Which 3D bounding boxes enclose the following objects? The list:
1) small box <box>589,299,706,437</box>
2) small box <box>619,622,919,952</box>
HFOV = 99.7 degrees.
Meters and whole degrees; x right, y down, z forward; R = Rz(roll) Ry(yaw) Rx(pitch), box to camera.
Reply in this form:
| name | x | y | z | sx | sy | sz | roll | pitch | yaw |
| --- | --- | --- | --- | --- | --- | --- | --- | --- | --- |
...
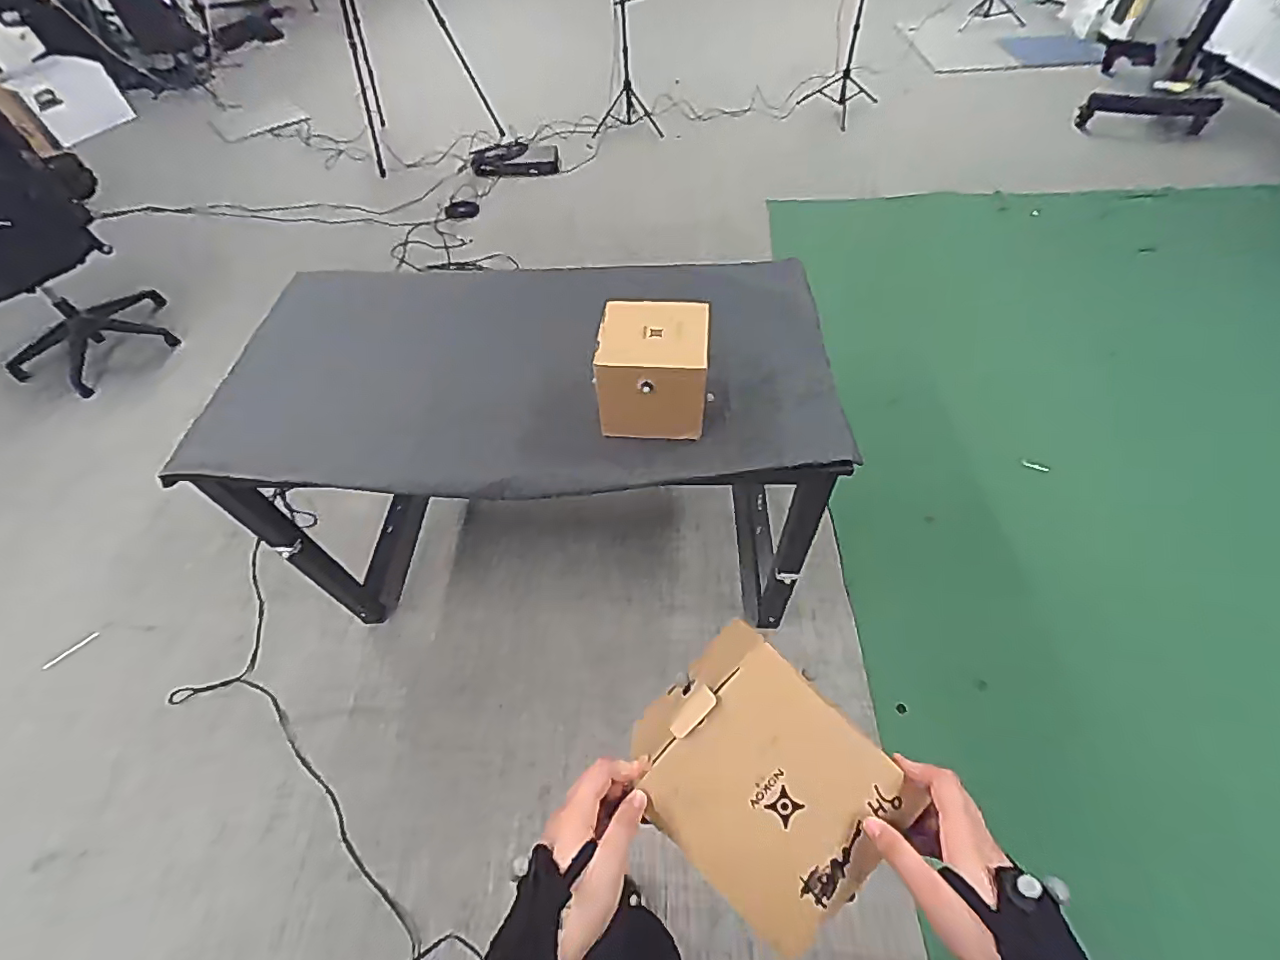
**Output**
| name | x | y | z | sx | sy | sz | roll | pitch | yaw |
| --- | --- | --- | --- | --- | --- | --- | --- | --- | --- |
| small box | 0.019 | -0.189 | 0.926 | 0.179 | 0.176 | 0.168 | 3 | 54 | 4 |
| small box | 0.100 | 0.249 | 0.498 | 0.179 | 0.176 | 0.168 | 43 | 85 | 6 |
